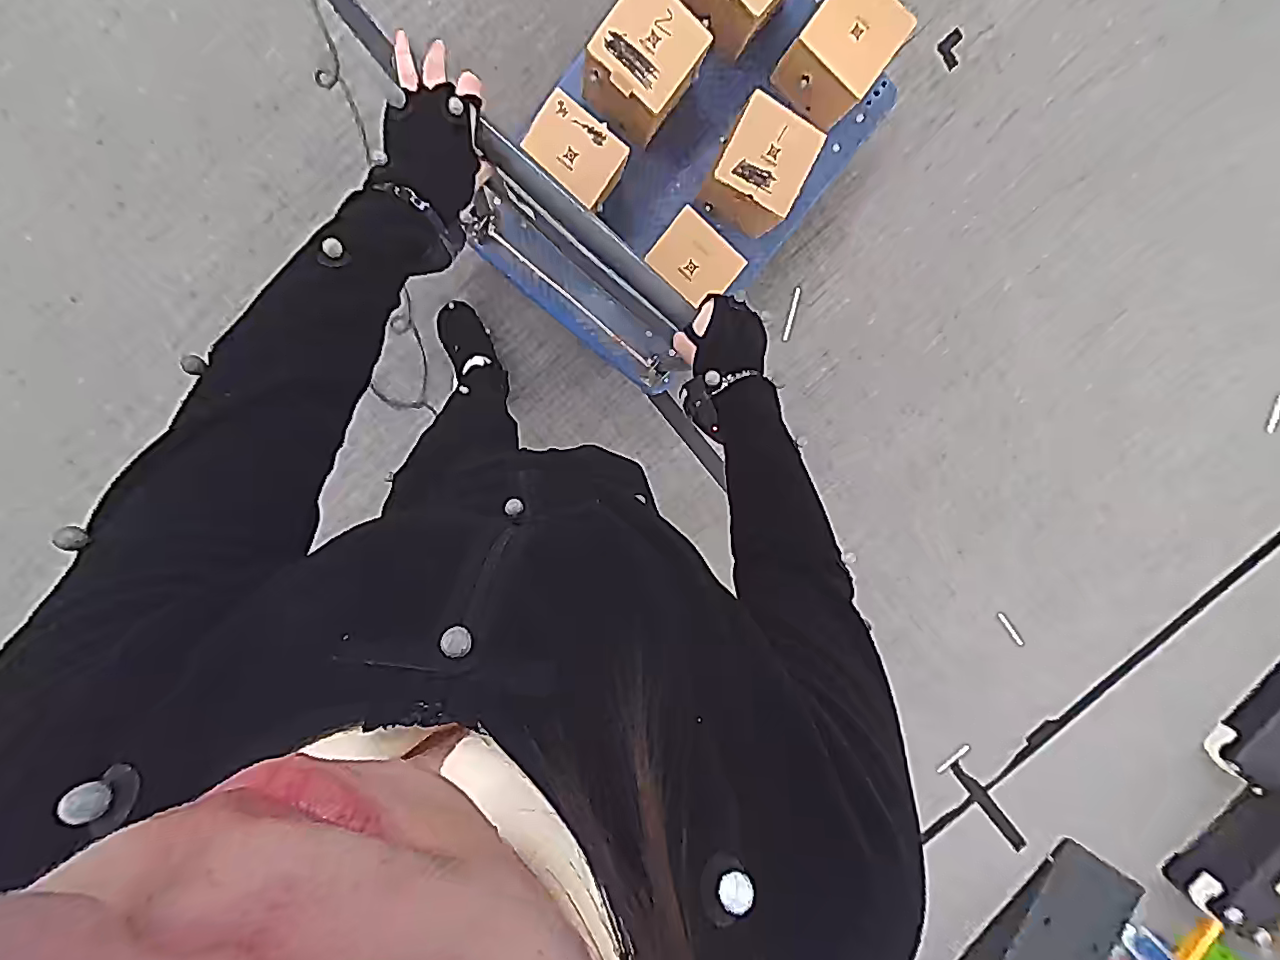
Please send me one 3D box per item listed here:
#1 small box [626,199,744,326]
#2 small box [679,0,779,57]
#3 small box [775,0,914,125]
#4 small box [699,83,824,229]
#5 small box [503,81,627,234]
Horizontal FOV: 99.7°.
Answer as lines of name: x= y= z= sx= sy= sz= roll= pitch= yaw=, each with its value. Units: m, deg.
small box: x=0.085 y=-0.444 z=1.143 sx=0.168 sy=0.176 sz=0.179 roll=39 pitch=94 yaw=-15
small box: x=0.196 y=-0.981 z=1.035 sx=0.168 sy=0.176 sz=0.179 roll=40 pitch=95 yaw=-14
small box: x=0.396 y=-0.871 z=1.091 sx=0.168 sy=0.176 sz=0.179 roll=35 pitch=96 yaw=-14
small box: x=0.238 y=-0.651 z=1.117 sx=0.168 sy=0.176 sz=0.179 roll=26 pitch=97 yaw=-13
small box: x=-0.145 y=-0.619 z=1.068 sx=0.168 sy=0.176 sz=0.179 roll=34 pitch=96 yaw=-15
